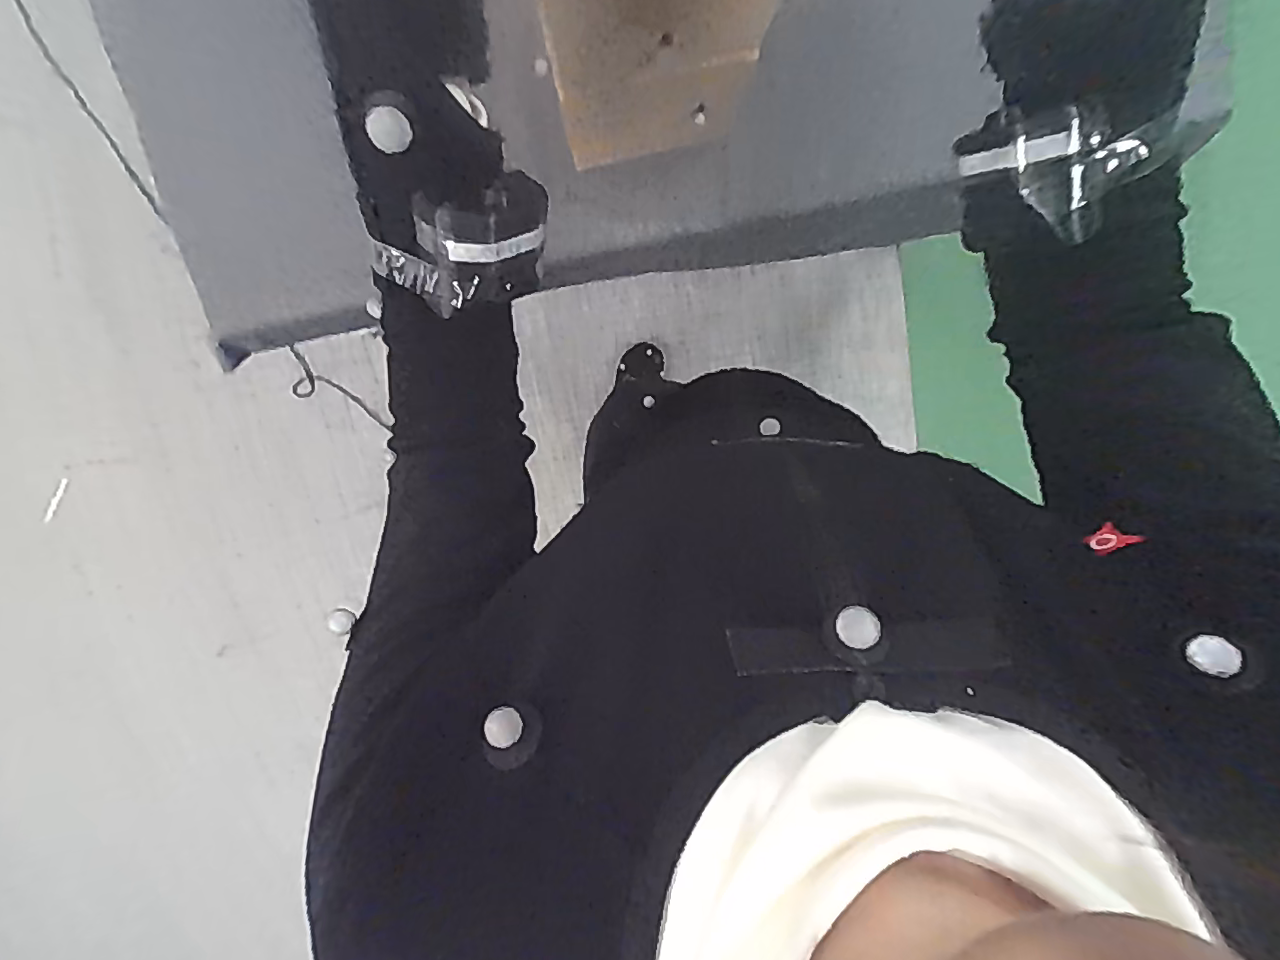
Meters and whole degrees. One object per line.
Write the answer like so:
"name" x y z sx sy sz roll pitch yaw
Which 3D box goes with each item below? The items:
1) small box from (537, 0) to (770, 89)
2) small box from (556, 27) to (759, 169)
"small box" 0.003 -0.407 0.362 0.179 0.176 0.168 -14 100 0
"small box" -0.001 -0.433 0.523 0.179 0.176 0.168 -13 100 2
